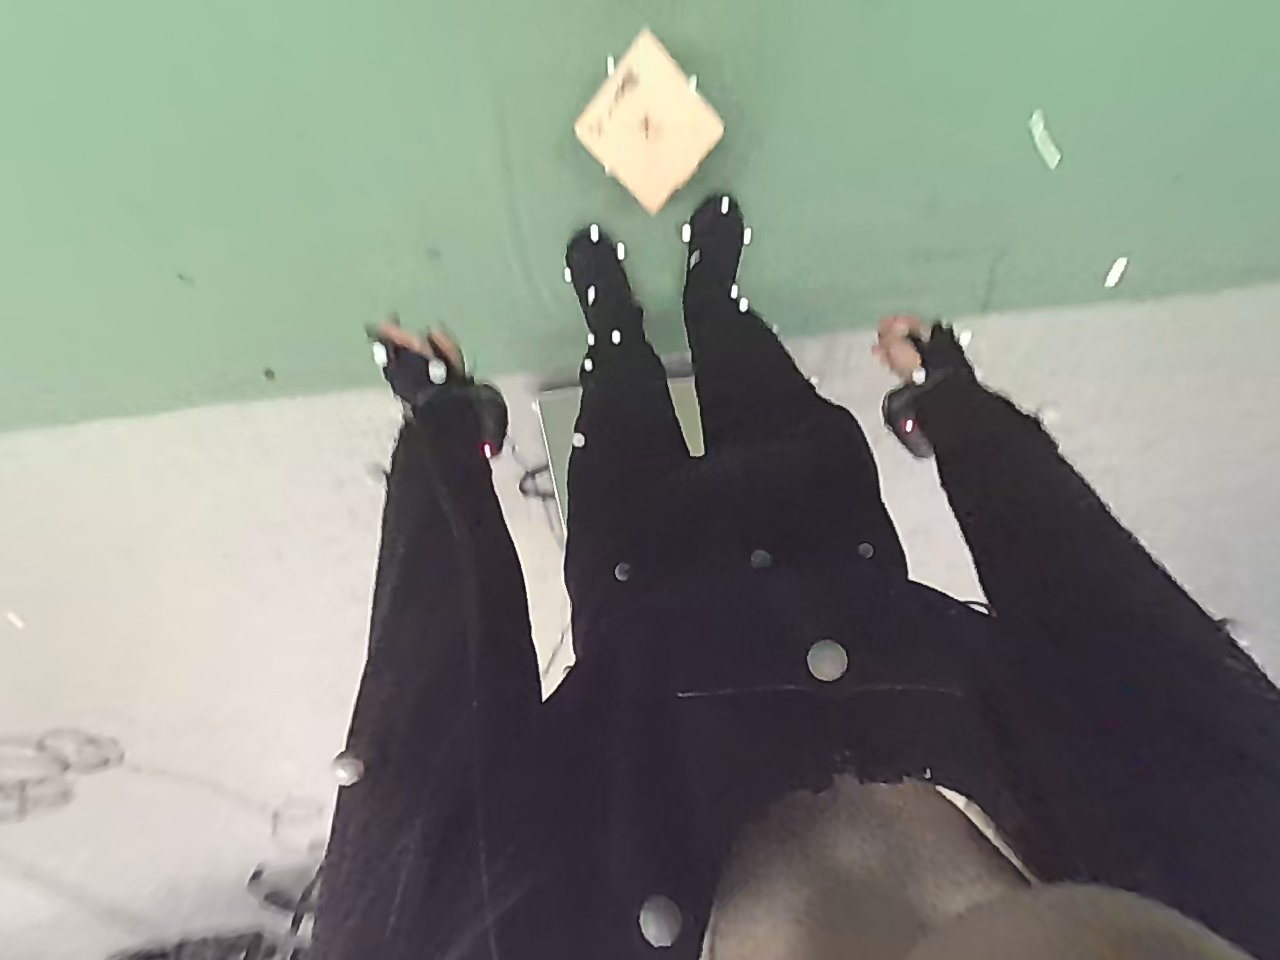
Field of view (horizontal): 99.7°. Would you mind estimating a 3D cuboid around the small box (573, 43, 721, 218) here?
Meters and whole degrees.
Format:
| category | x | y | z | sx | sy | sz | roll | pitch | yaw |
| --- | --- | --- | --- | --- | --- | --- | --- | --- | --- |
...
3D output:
| category | x | y | z | sx | sy | sz | roll | pitch | yaw |
| --- | --- | --- | --- | --- | --- | --- | --- | --- | --- |
| small box | 0.006 | -0.583 | 0.902 | 0.179 | 0.176 | 0.168 | 35 | 117 | -28 |
